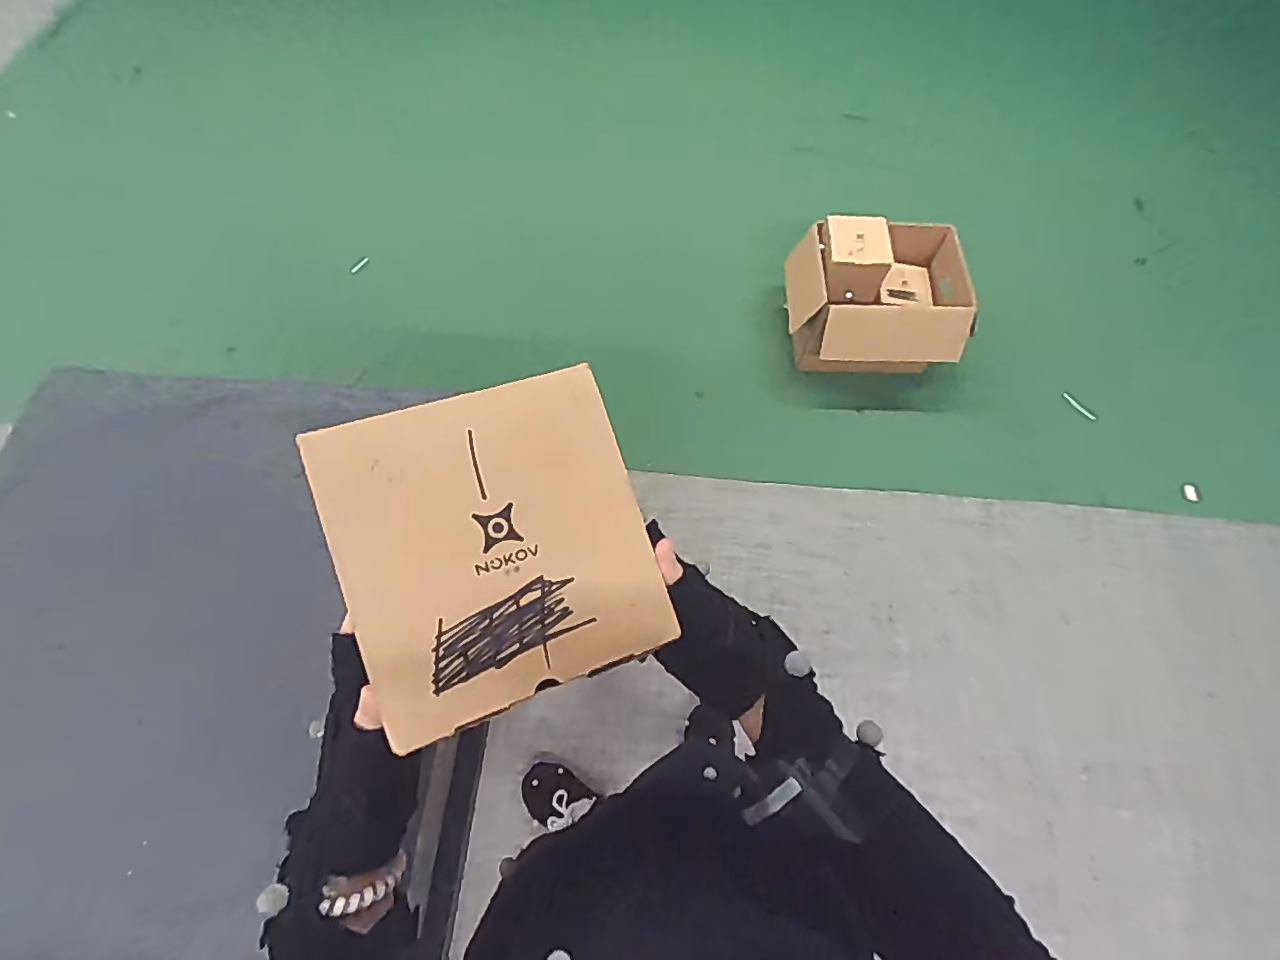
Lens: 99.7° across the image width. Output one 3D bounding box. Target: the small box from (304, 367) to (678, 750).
[{"bbox_3d":[-0.095,0.046,0.378,0.168,0.176,0.179,-18,87,-16],"label":"small box"}]
